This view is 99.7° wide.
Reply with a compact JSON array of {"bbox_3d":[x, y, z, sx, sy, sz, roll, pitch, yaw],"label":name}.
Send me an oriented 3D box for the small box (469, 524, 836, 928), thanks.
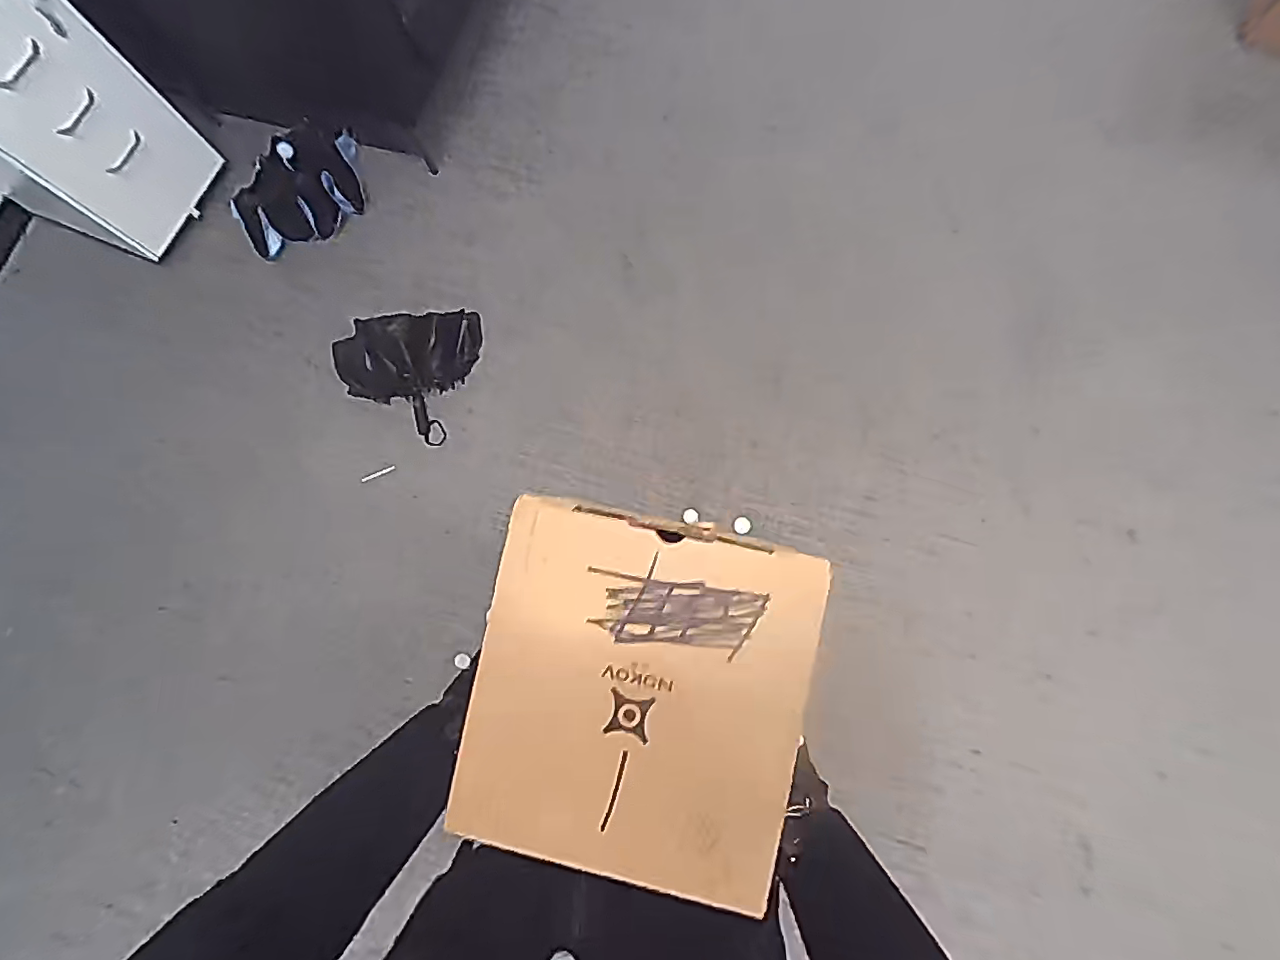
[{"bbox_3d":[0.011,0.129,0.358,0.168,0.176,0.179,11,87,5],"label":"small box"}]
